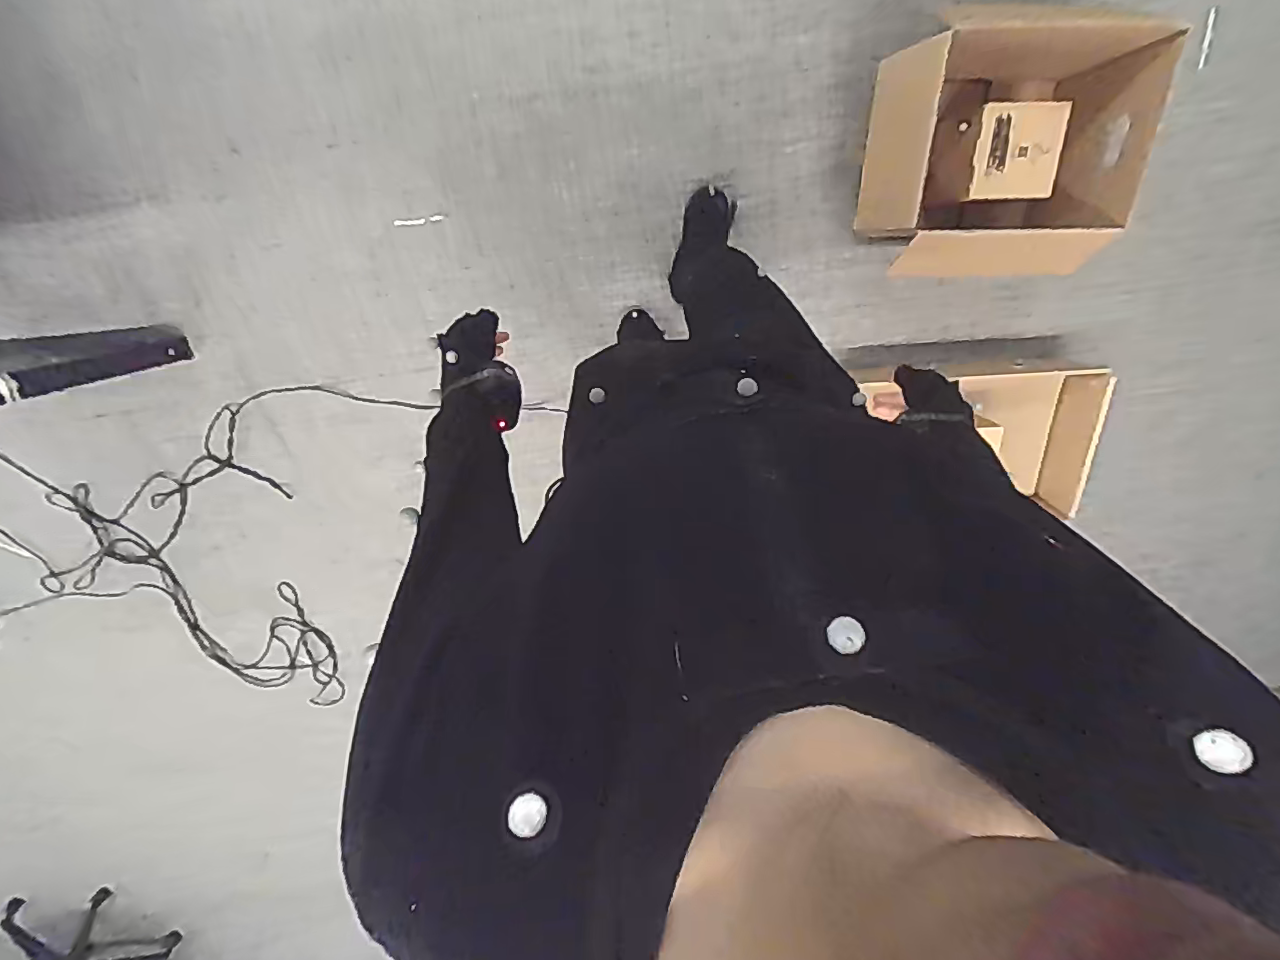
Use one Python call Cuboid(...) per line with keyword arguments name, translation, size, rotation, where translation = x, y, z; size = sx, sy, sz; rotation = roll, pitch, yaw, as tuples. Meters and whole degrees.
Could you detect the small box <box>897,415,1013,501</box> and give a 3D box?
Cuboid(name="small box", translation=(0.775, -0.060, 1.348), size=(0.179, 0.176, 0.168), rotation=(-4, 113, 1))
